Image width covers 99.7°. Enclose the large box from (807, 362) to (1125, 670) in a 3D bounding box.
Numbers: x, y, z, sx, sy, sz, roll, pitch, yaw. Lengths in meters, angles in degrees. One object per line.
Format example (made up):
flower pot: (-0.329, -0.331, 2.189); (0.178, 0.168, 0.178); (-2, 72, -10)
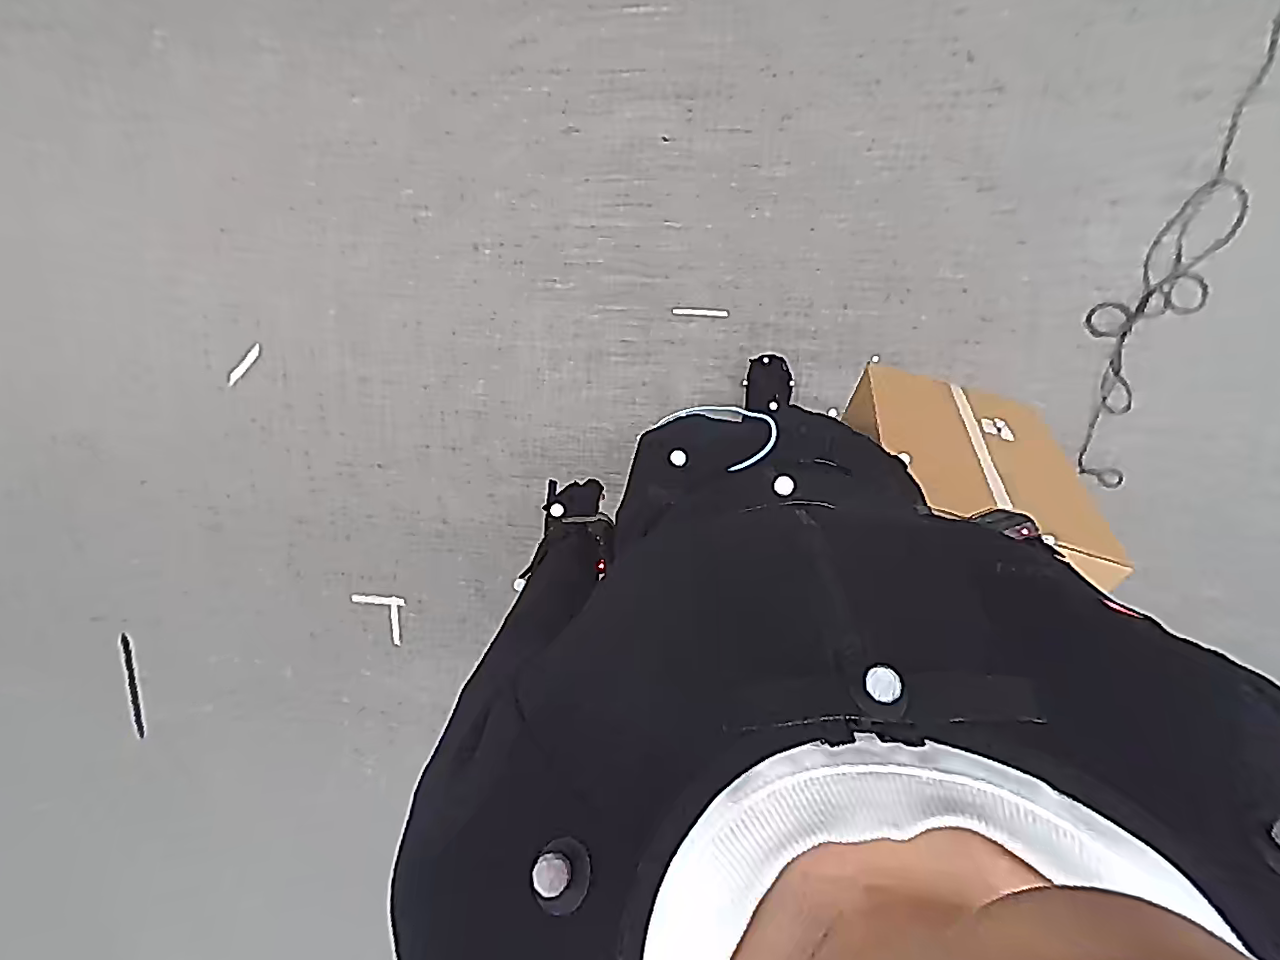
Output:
large box: (0.497, 0.049, 0.947); (0.320, 0.408, 0.320); (16, 130, 3)
